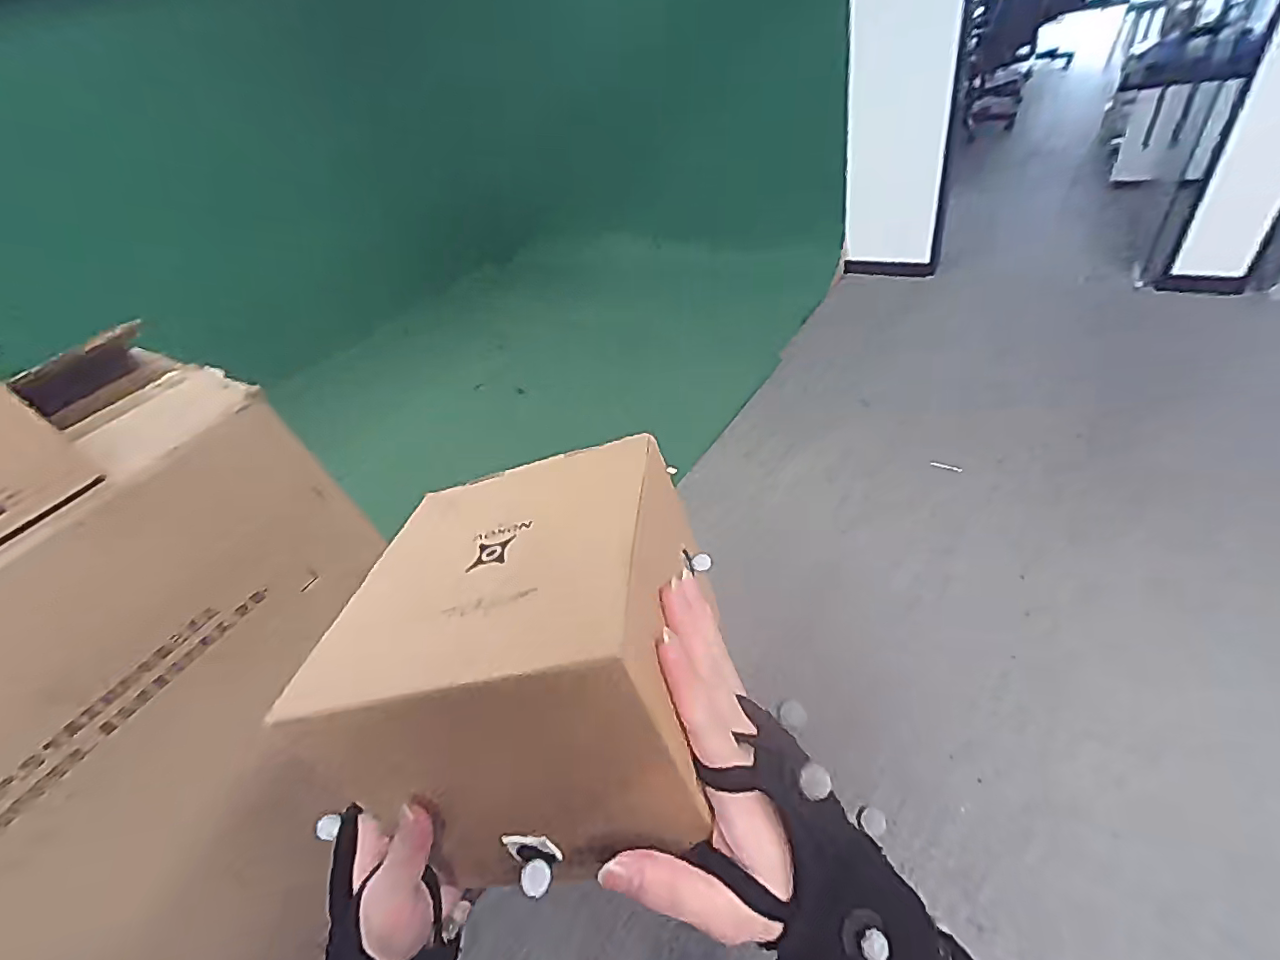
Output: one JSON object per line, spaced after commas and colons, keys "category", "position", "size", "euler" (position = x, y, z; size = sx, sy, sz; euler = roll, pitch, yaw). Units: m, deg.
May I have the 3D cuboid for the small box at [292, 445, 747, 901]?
{"category": "small box", "position": [-0.042, 0.108, 0.321], "size": [0.168, 0.176, 0.179], "euler": [-15, 31, 13]}
